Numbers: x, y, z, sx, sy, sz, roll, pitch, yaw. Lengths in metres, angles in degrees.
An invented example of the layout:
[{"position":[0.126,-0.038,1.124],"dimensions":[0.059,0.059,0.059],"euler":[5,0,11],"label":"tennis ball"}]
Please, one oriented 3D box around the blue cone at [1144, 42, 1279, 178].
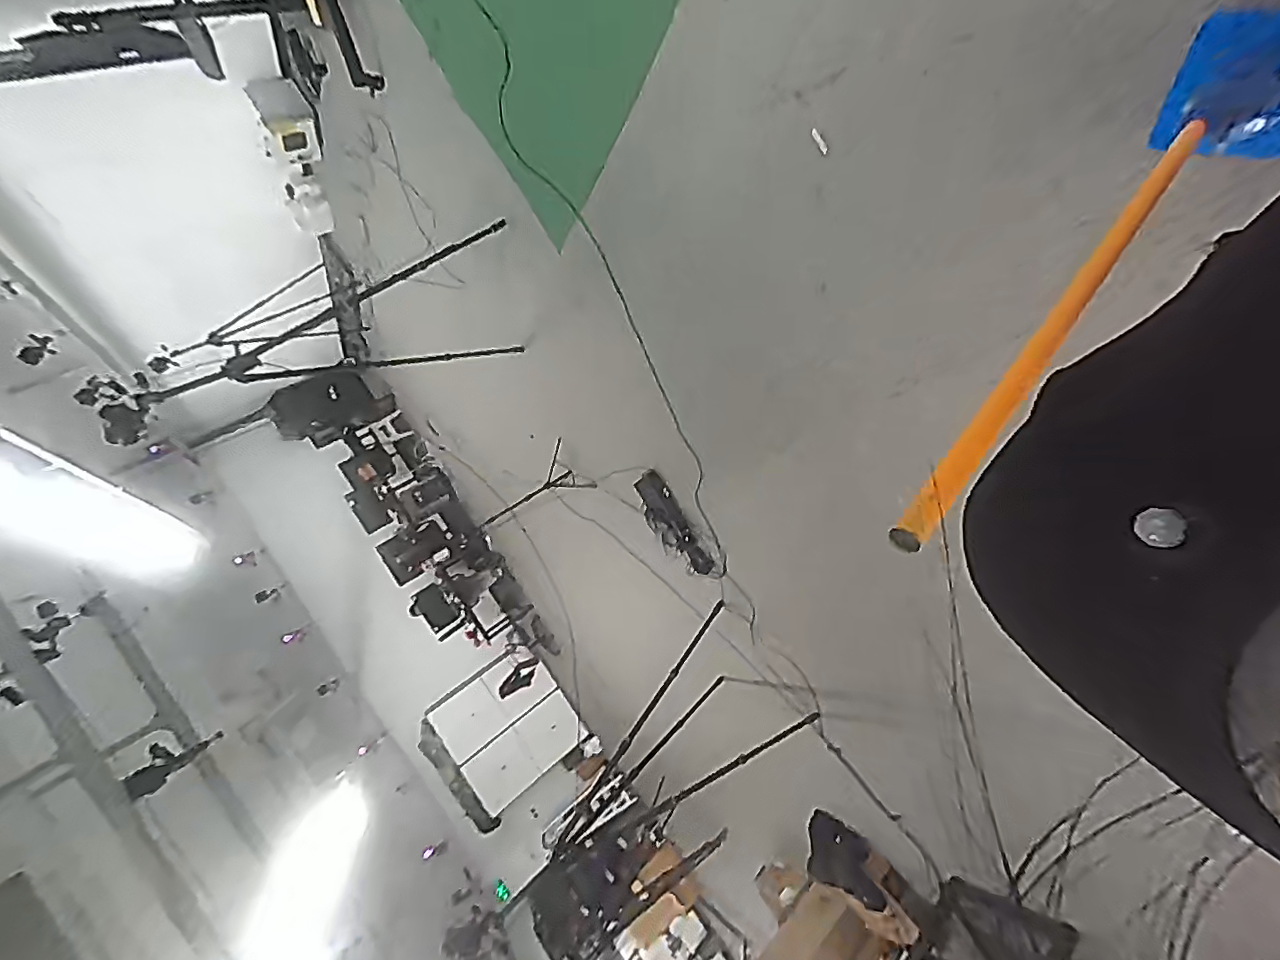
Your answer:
[{"position":[0.885,-0.539,0.845],"dimensions":[0.192,0.380,0.193],"euler":[32,145,38],"label":"blue cone"}]
